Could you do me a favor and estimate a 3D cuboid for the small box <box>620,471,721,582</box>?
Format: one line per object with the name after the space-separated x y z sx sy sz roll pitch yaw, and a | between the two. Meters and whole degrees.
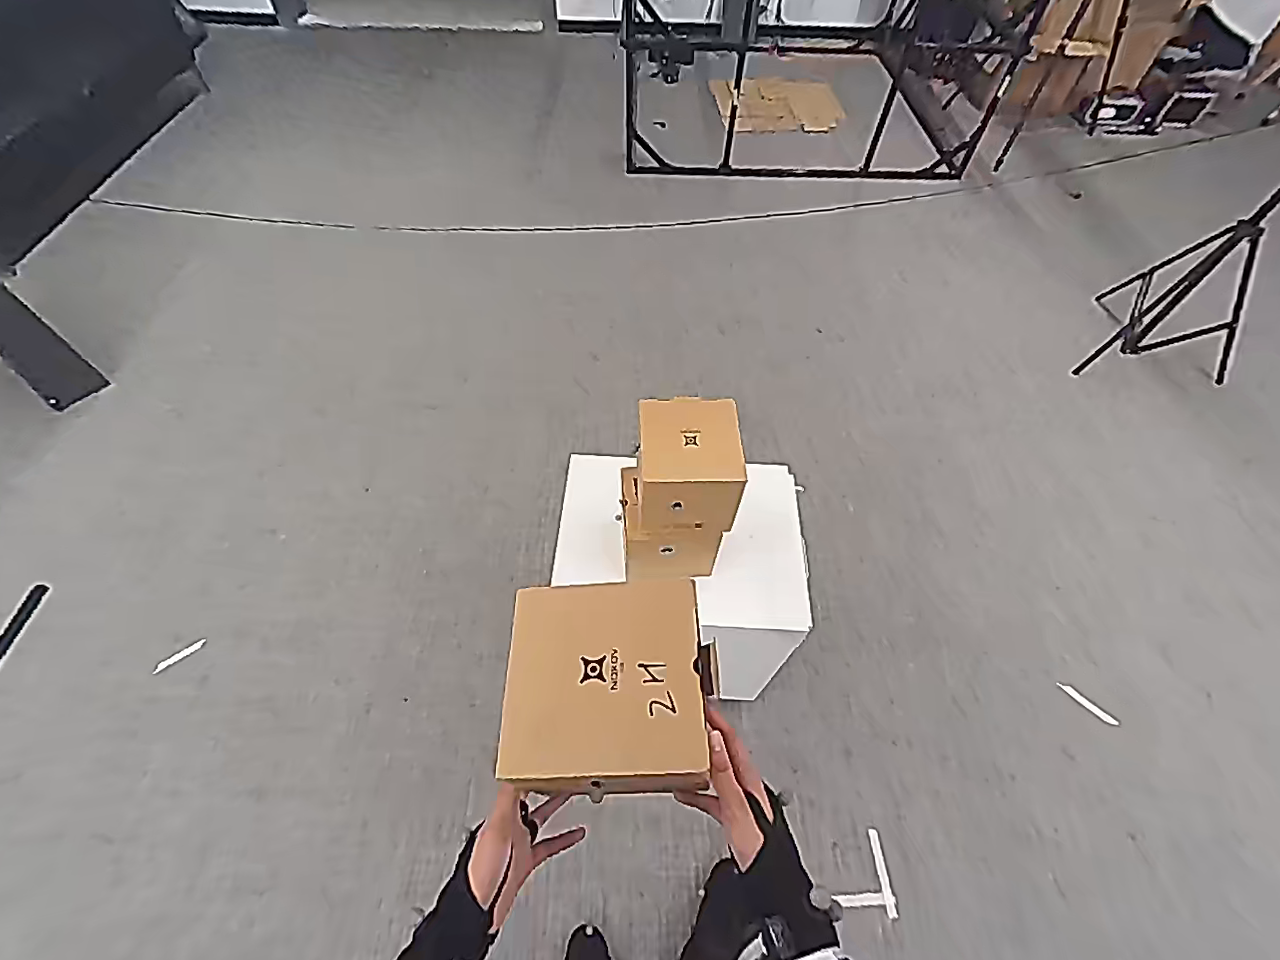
0.052 0.094 1.074 0.179 0.176 0.168 -2 55 -4 | small box

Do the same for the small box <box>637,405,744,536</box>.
0.080 -0.011 0.951 0.168 0.176 0.179 0 54 -2 | small box

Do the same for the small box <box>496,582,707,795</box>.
-0.025 0.215 0.544 0.179 0.176 0.168 -4 56 3 | small box
